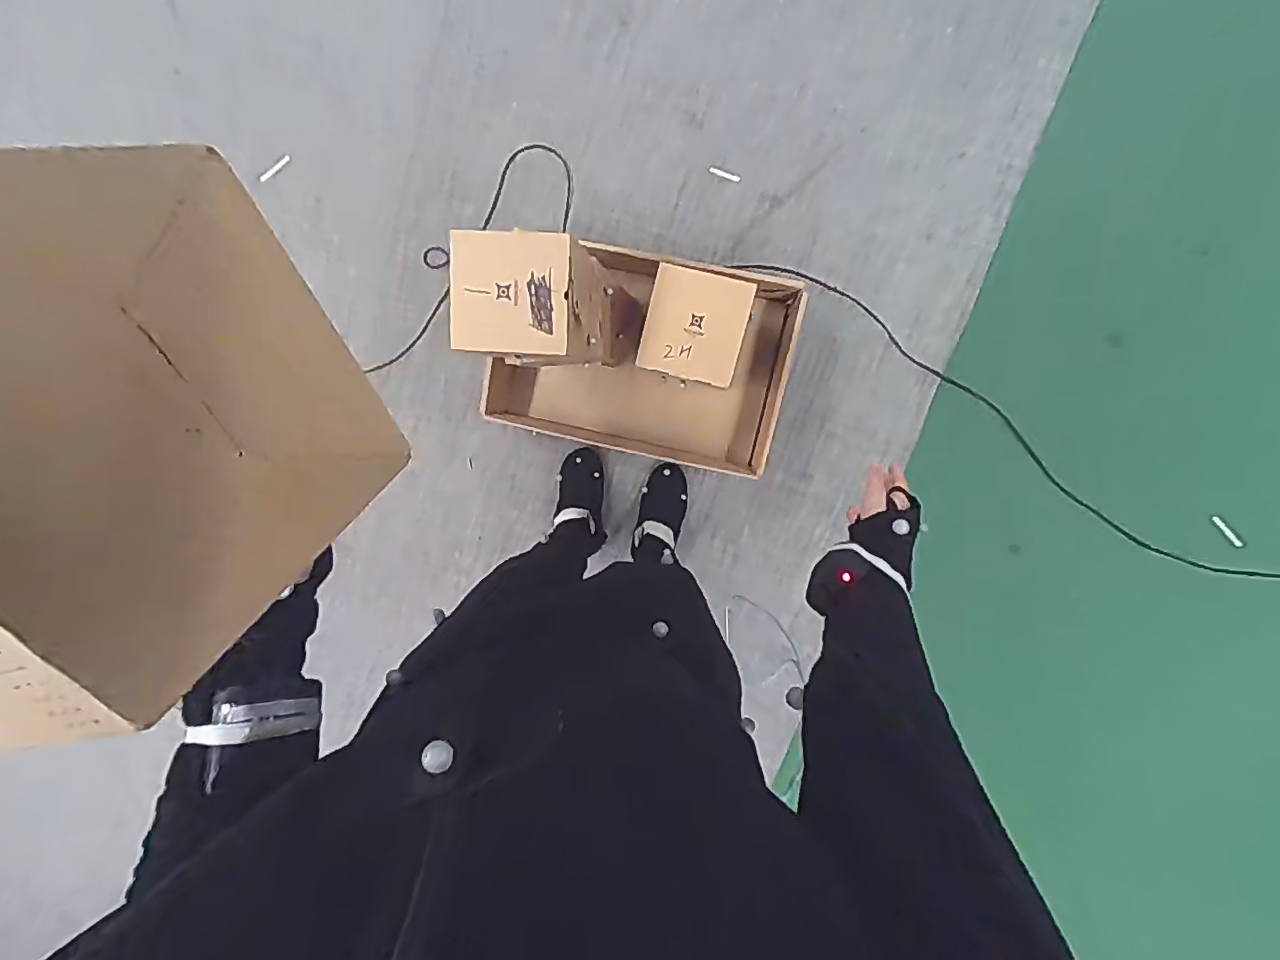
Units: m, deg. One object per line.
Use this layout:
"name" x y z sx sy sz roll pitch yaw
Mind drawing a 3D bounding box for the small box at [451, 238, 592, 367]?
"small box" -0.174 -0.266 0.842 0.179 0.176 0.168 5 99 6

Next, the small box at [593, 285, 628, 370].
"small box" -0.132 -0.333 1.159 0.179 0.176 0.168 13 100 3

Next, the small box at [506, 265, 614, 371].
"small box" -0.145 -0.291 1.002 0.179 0.176 0.168 -3 99 7

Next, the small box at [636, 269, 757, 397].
"small box" 0.101 -0.255 0.973 0.168 0.176 0.179 16 100 5

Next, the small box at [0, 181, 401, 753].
"small box" -0.248 -0.007 0.232 0.176 0.179 0.168 -14 119 18
